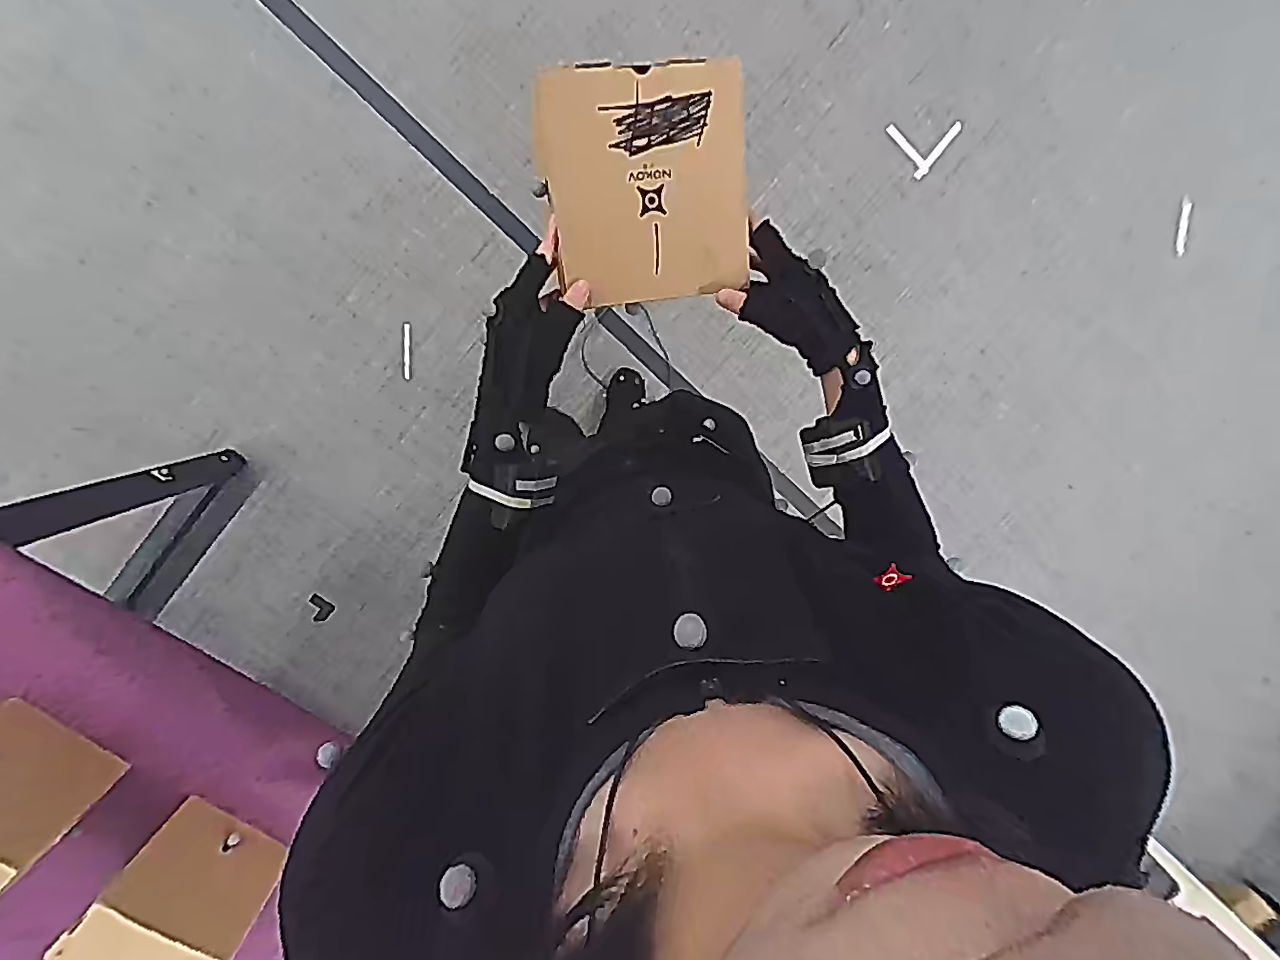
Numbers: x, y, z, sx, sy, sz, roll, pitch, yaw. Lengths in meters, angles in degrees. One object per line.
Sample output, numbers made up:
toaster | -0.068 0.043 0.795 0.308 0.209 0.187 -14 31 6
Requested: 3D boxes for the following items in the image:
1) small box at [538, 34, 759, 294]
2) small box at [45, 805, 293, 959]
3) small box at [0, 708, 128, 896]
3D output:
small box | 0.000 -0.272 0.503 0.168 0.176 0.179 -10 111 -8
small box | -0.631 0.589 0.736 0.179 0.176 0.168 40 96 -12
small box | -0.830 0.423 0.679 0.168 0.176 0.179 -44 104 5
